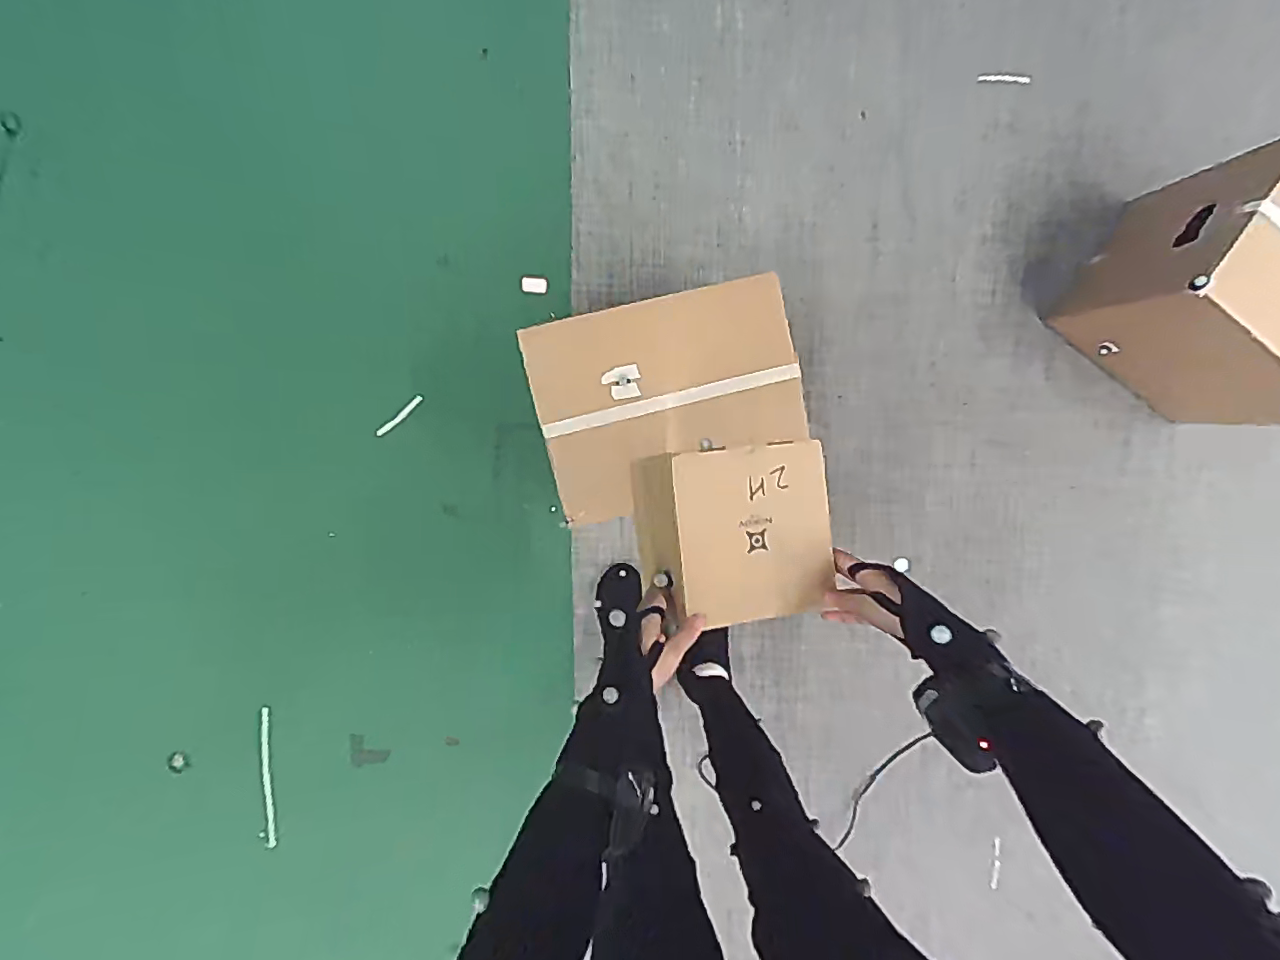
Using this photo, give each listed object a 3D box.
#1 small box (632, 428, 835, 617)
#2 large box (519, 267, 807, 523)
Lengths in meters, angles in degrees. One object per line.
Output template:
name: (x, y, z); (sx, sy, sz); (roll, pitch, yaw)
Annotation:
small box: (0.095, 0.039, 0.608); (0.168, 0.176, 0.179); (-5, 90, -16)
large box: (0.039, -0.145, 0.969); (0.408, 0.320, 0.320); (-13, 97, -1)
